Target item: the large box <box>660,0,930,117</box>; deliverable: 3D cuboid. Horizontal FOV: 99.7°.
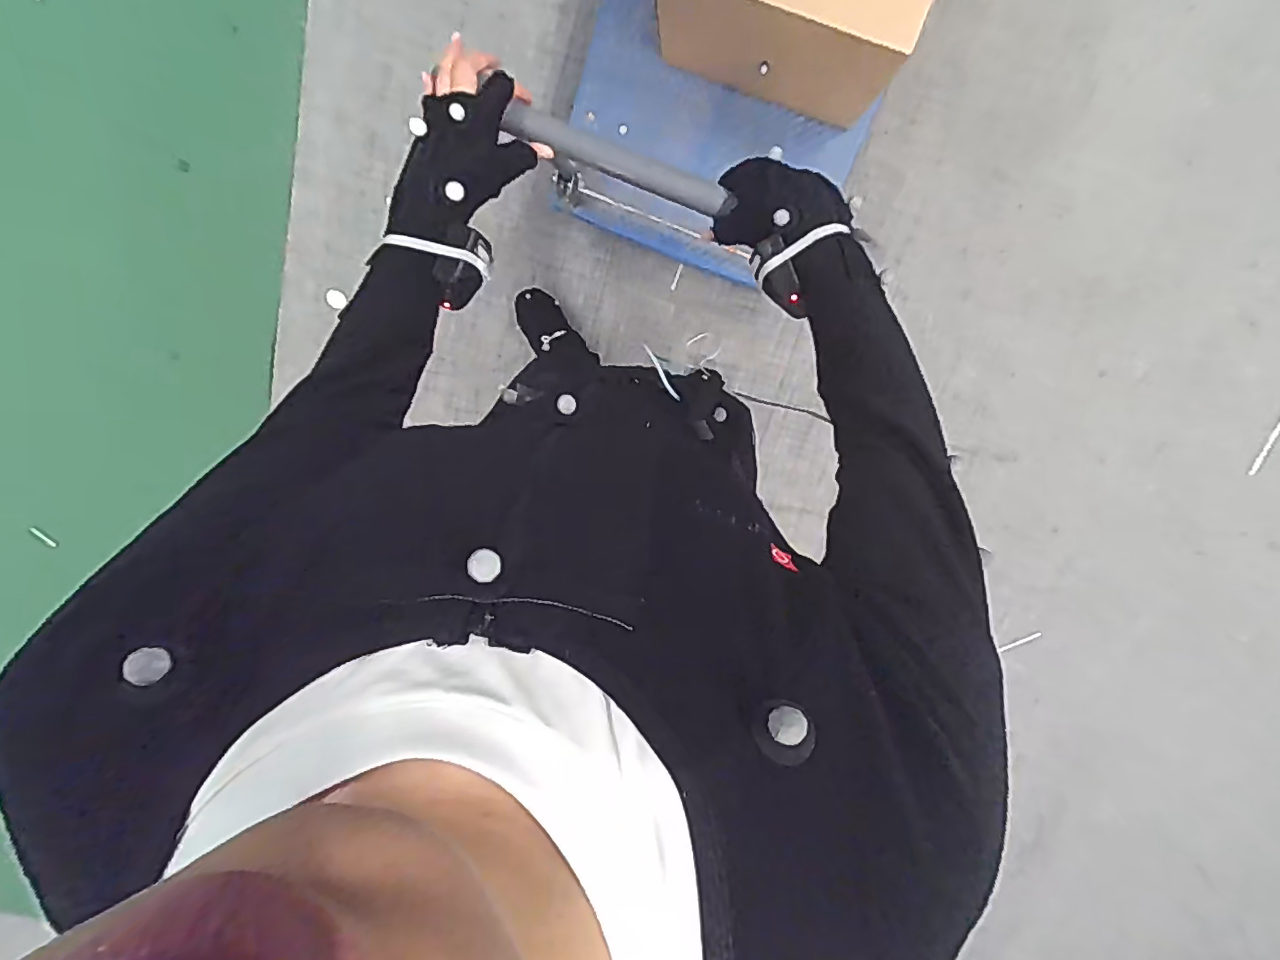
[{"bbox_3d":[0.273,-0.874,0.895,0.408,0.320,0.320,19,107,0],"label":"large box"}]
